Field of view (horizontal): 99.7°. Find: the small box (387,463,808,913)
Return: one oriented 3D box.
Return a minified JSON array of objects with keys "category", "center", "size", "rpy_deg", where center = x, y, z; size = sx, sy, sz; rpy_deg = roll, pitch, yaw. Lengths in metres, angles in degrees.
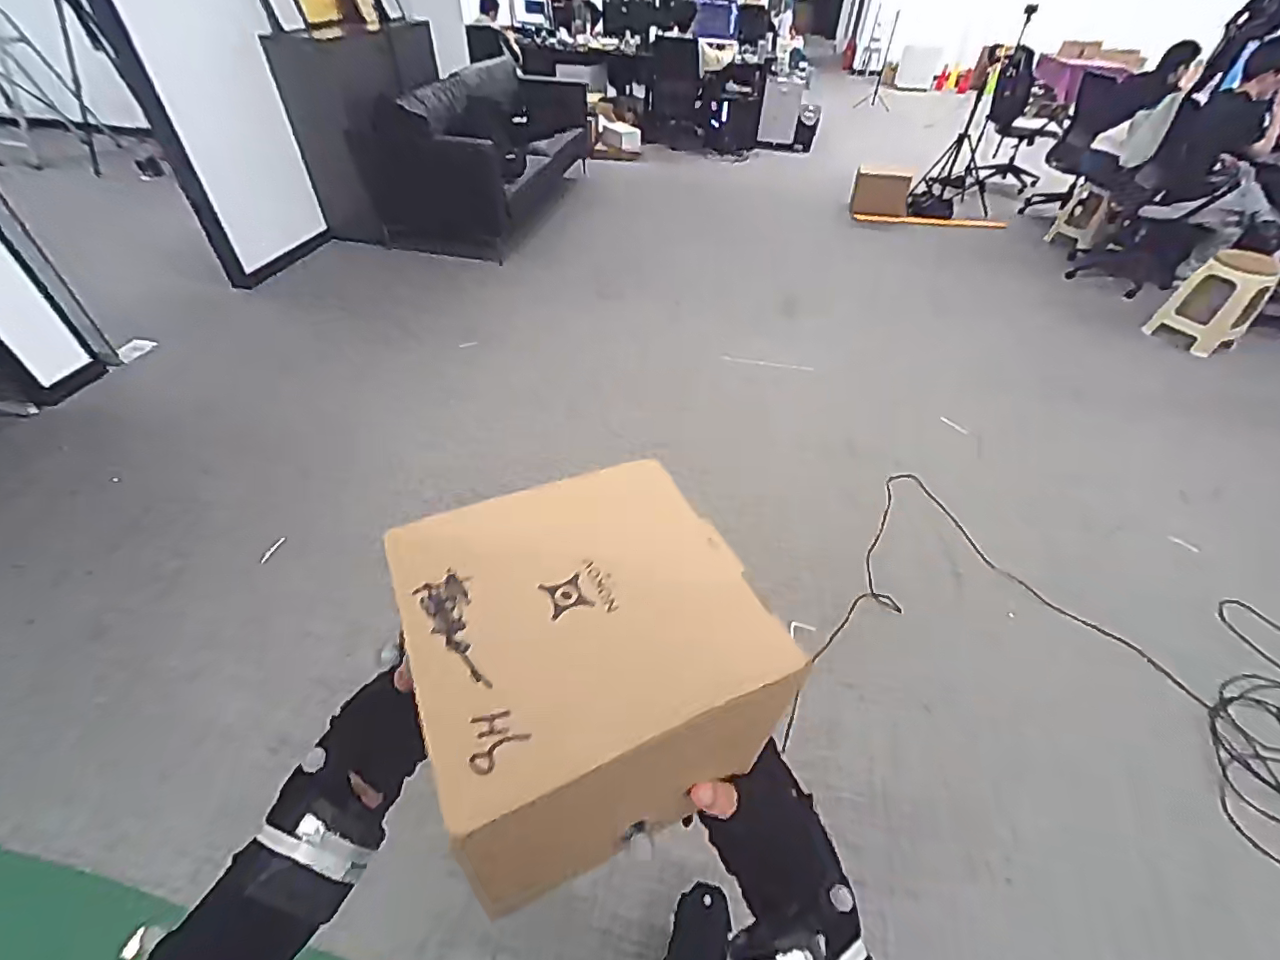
[{"category":"small box","center":[-0.037,0.119,0.333],"size":[0.179,0.176,0.168],"rpy_deg":[-15,46,-23]}]
